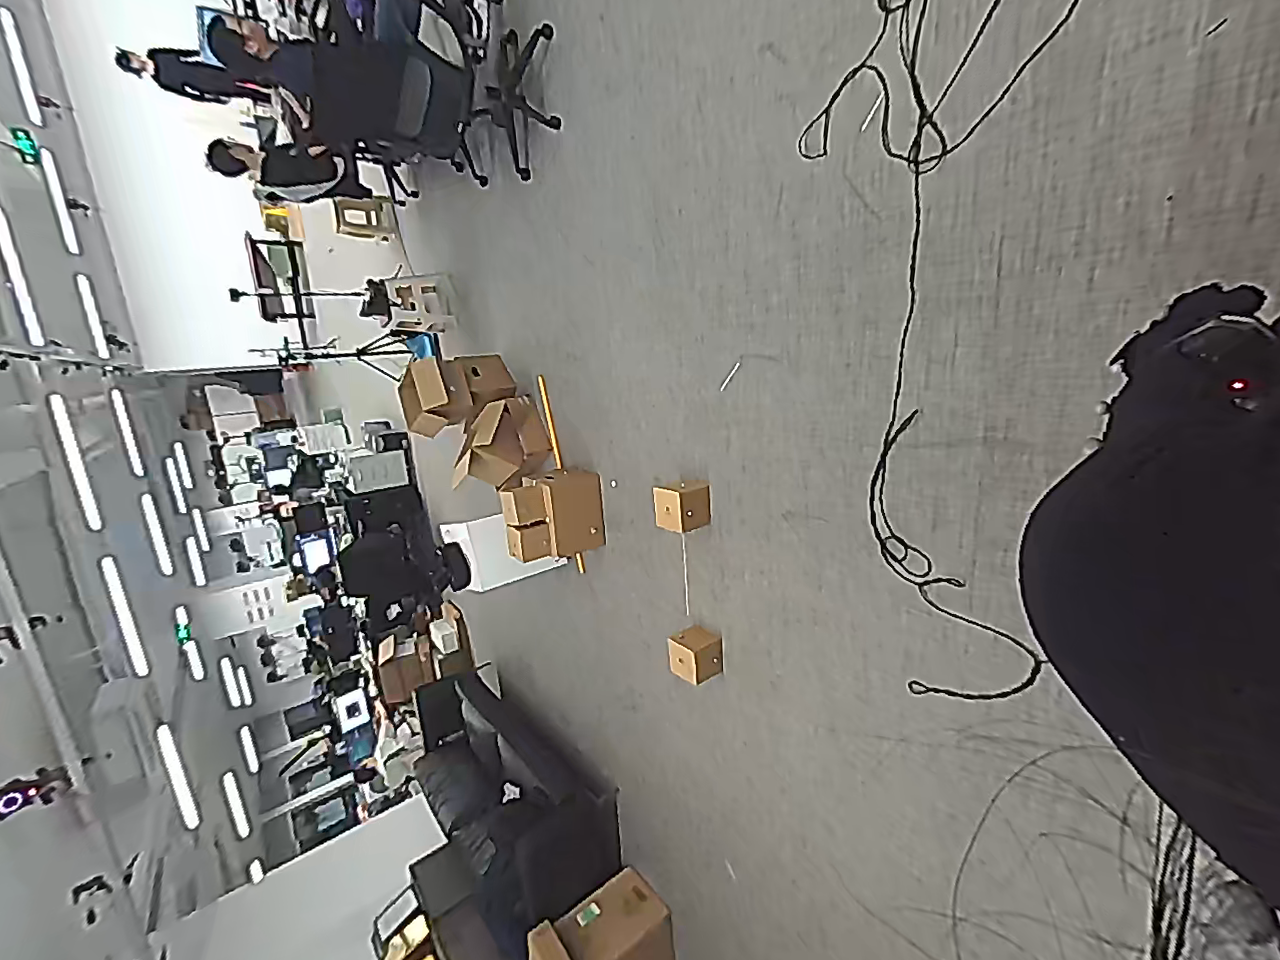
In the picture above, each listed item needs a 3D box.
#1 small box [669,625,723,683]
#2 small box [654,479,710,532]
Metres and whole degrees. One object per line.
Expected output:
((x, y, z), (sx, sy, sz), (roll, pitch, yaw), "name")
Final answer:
((0.250, 0.767, 2.404), (0.179, 0.176, 0.168), (11, 111, 51), "small box")
((0.179, 0.100, 2.264), (0.168, 0.176, 0.179), (11, 111, 51), "small box")
